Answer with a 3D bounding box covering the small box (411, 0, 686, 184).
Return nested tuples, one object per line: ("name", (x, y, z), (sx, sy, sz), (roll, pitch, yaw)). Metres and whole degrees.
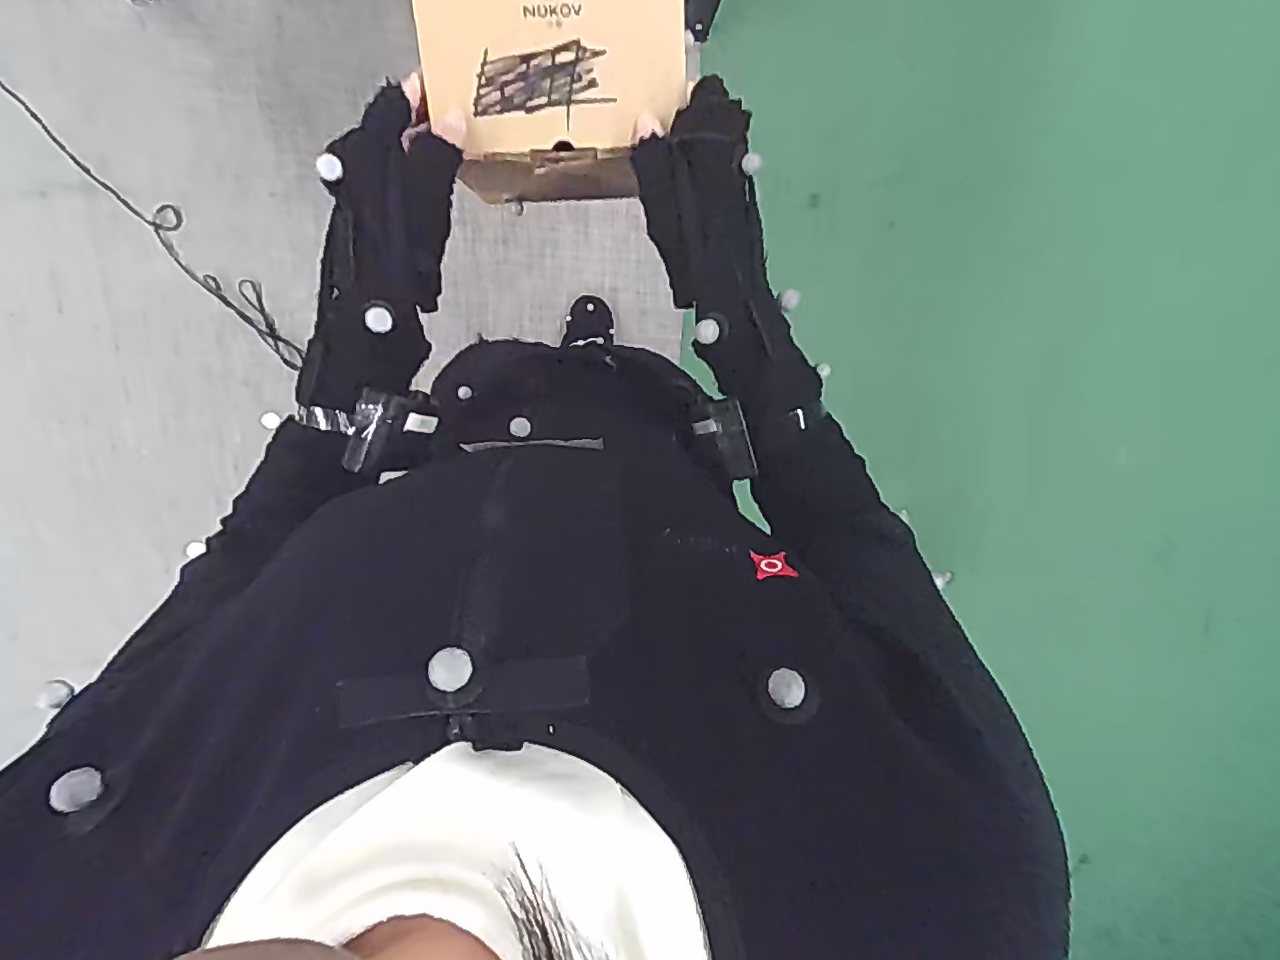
("small box", (-0.059, -0.326, 0.393), (0.168, 0.176, 0.179), (-5, 108, -3))
